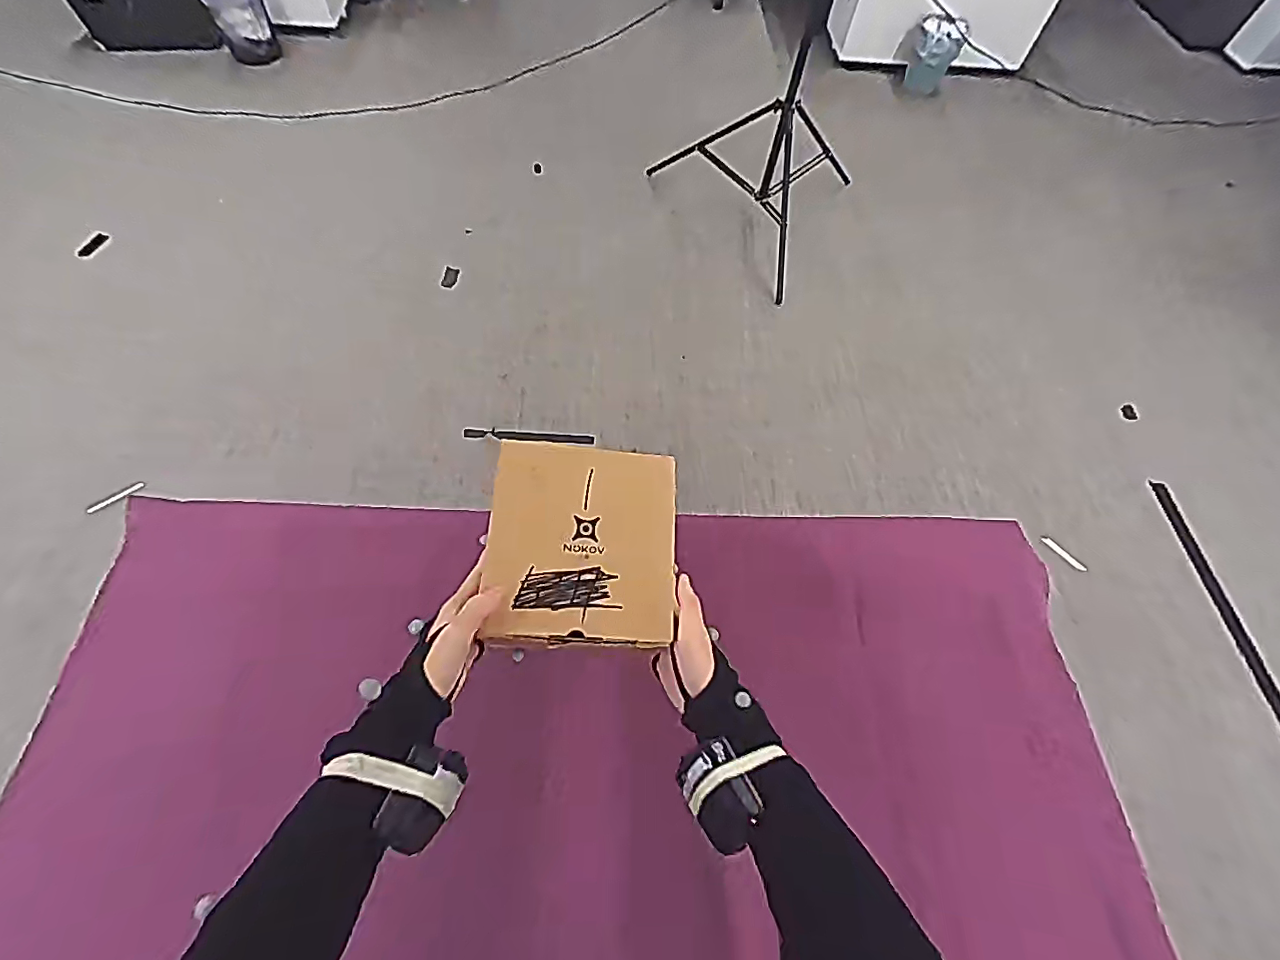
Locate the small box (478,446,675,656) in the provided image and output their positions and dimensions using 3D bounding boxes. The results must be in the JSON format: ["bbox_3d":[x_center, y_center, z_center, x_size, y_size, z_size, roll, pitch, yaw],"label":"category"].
[{"bbox_3d":[-0.062,0.084,0.559,0.168,0.176,0.179,5,67,-8],"label":"small box"}]
